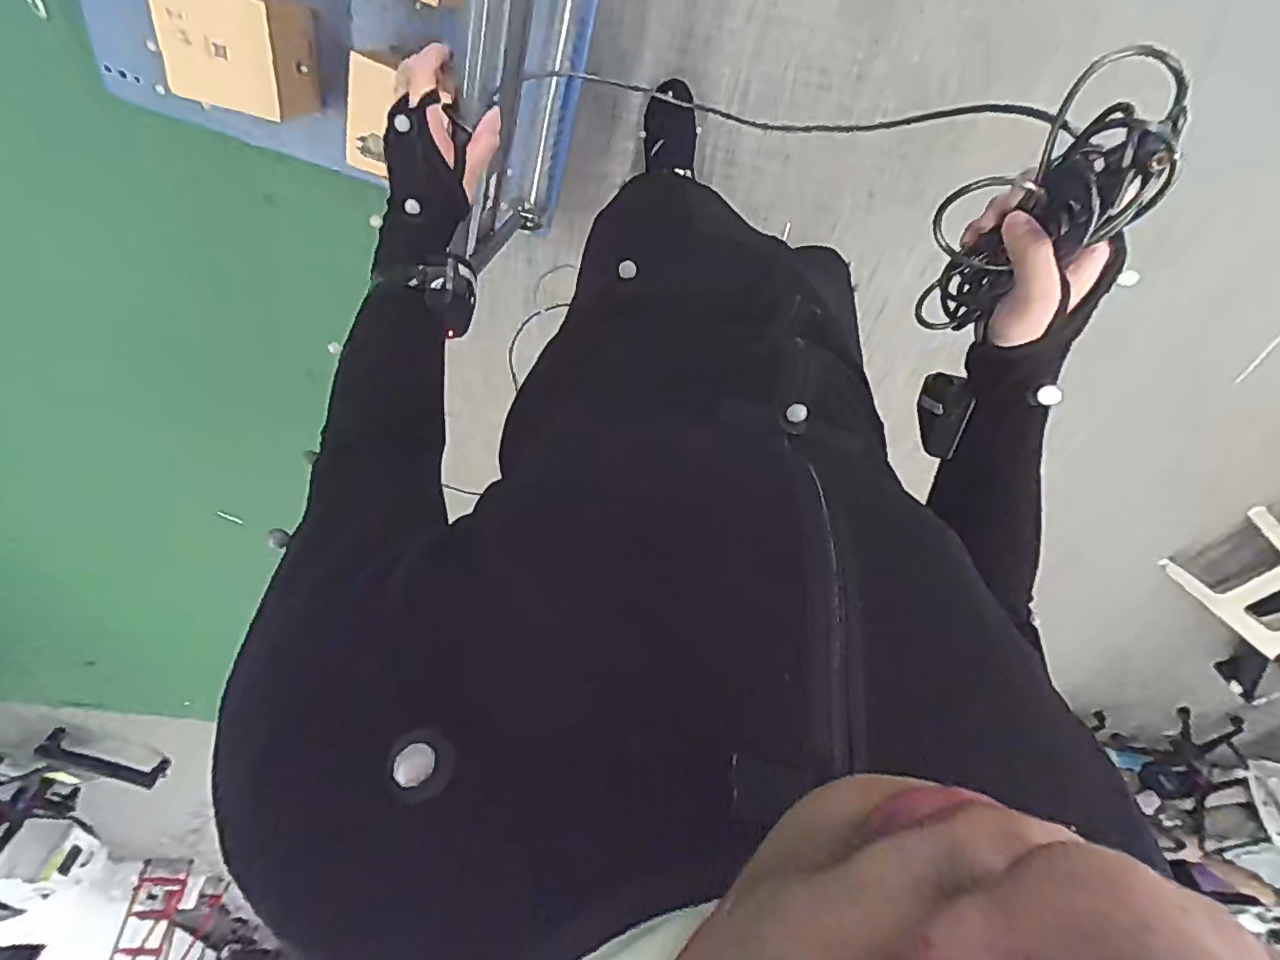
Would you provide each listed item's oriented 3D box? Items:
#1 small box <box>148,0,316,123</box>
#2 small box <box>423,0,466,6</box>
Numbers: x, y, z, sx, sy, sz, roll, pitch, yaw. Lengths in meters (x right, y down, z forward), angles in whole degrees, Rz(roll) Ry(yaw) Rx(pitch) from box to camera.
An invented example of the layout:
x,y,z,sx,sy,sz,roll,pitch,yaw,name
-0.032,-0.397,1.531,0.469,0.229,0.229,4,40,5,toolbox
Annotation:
x,y,z,sx,sy,sz,roll,pitch,yaw,name
-0.681,-0.743,0.927,0.179,0.176,0.168,11,128,-11,small box
-0.364,-0.865,0.832,0.179,0.176,0.168,14,129,-14,small box
